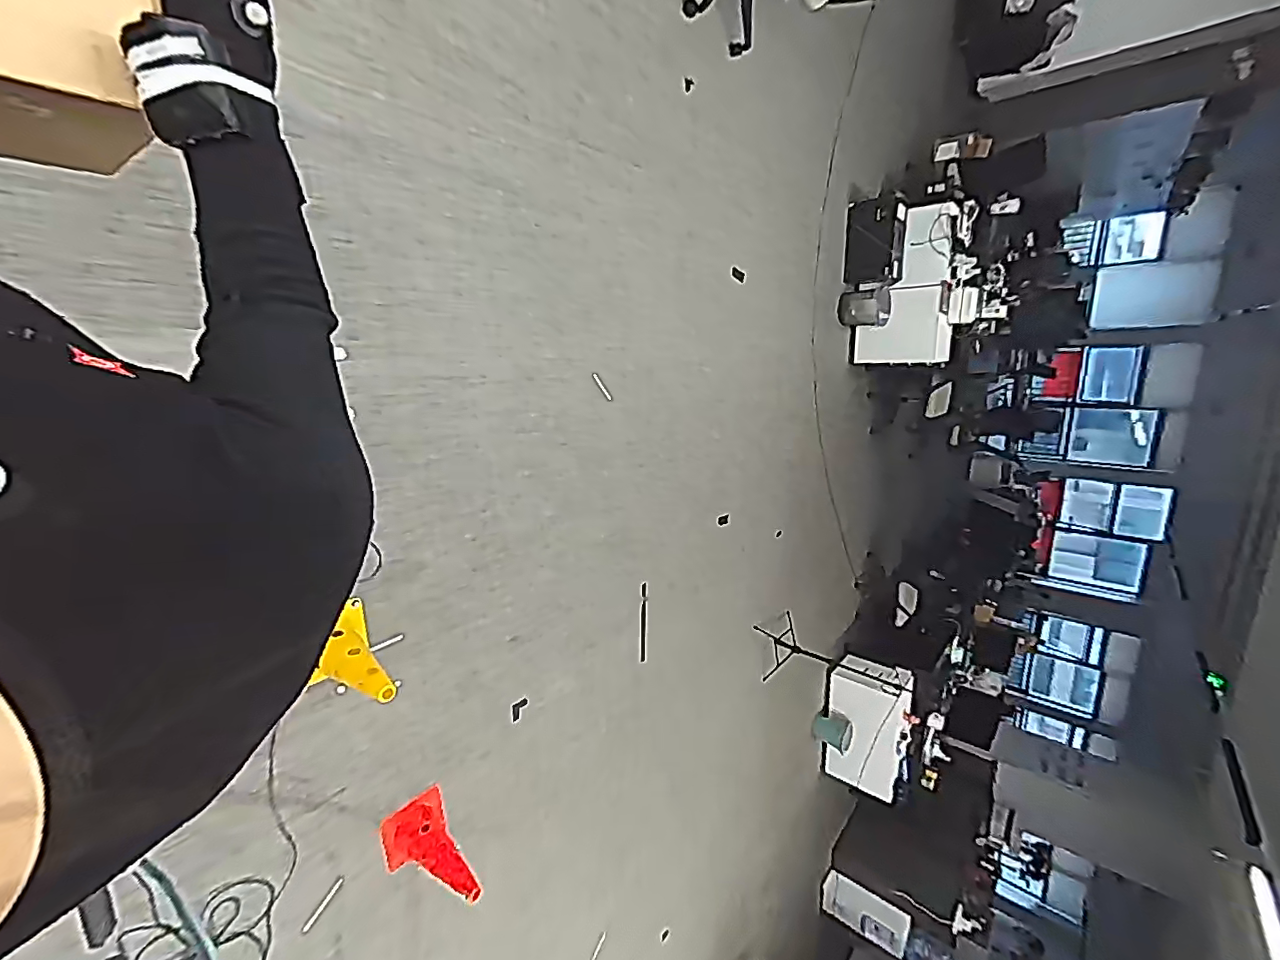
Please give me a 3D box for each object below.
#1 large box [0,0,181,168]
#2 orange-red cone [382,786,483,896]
[{"bbox_3d":[-0.568,-0.403,0.293,0.408,0.320,0.320,-16,115,-48],"label":"large box"},{"bbox_3d":[-0.596,1.140,1.639,0.198,0.360,0.199,-19,111,-48],"label":"orange-red cone"}]
